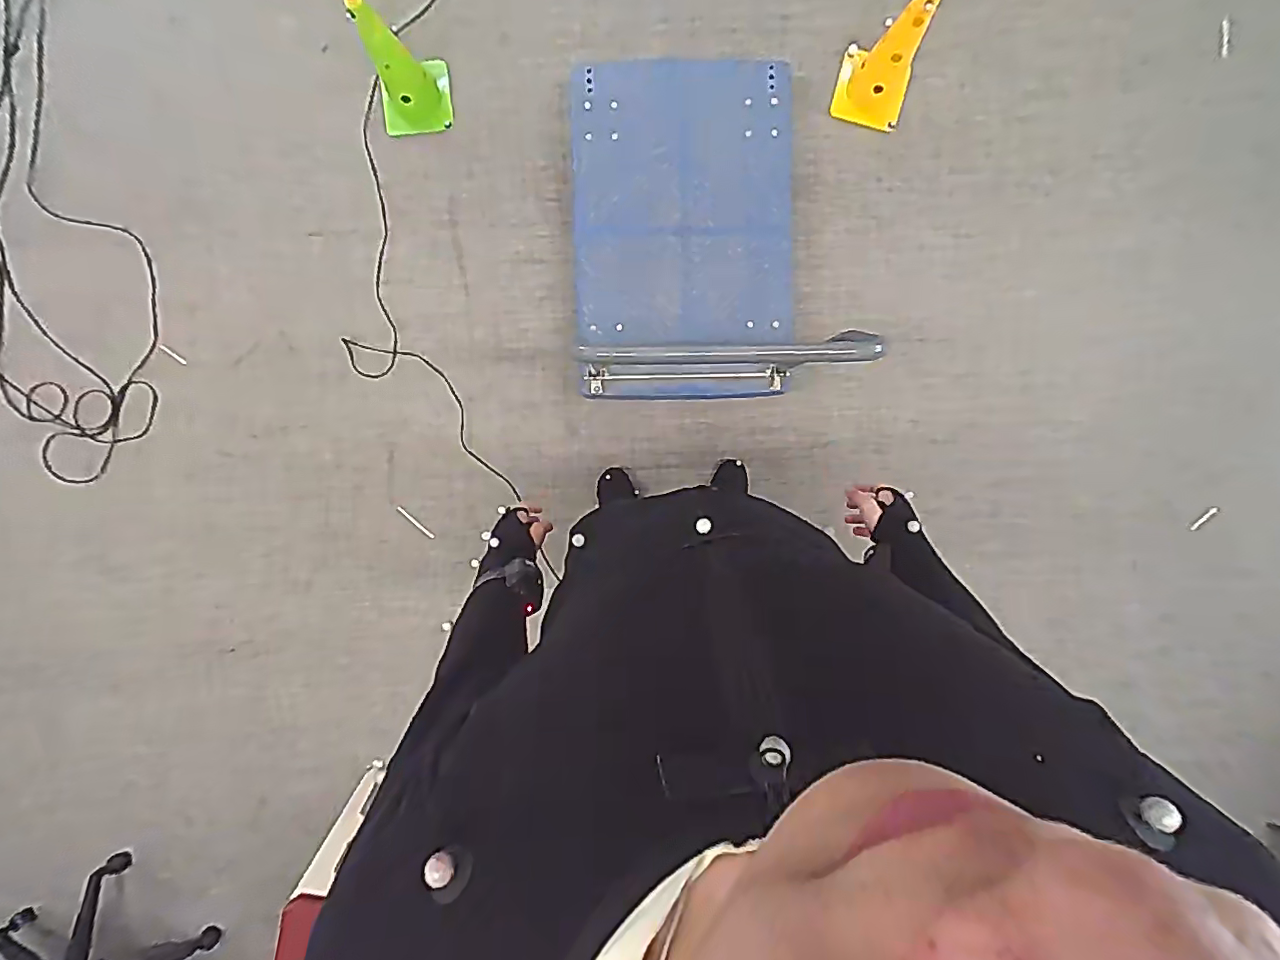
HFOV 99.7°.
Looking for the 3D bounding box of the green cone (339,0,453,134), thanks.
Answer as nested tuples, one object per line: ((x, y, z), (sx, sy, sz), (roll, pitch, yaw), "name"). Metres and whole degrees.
((-0.659, -1.117, 1.410), (0.202, 0.368, 0.200), (-6, 92, 3), "green cone")
